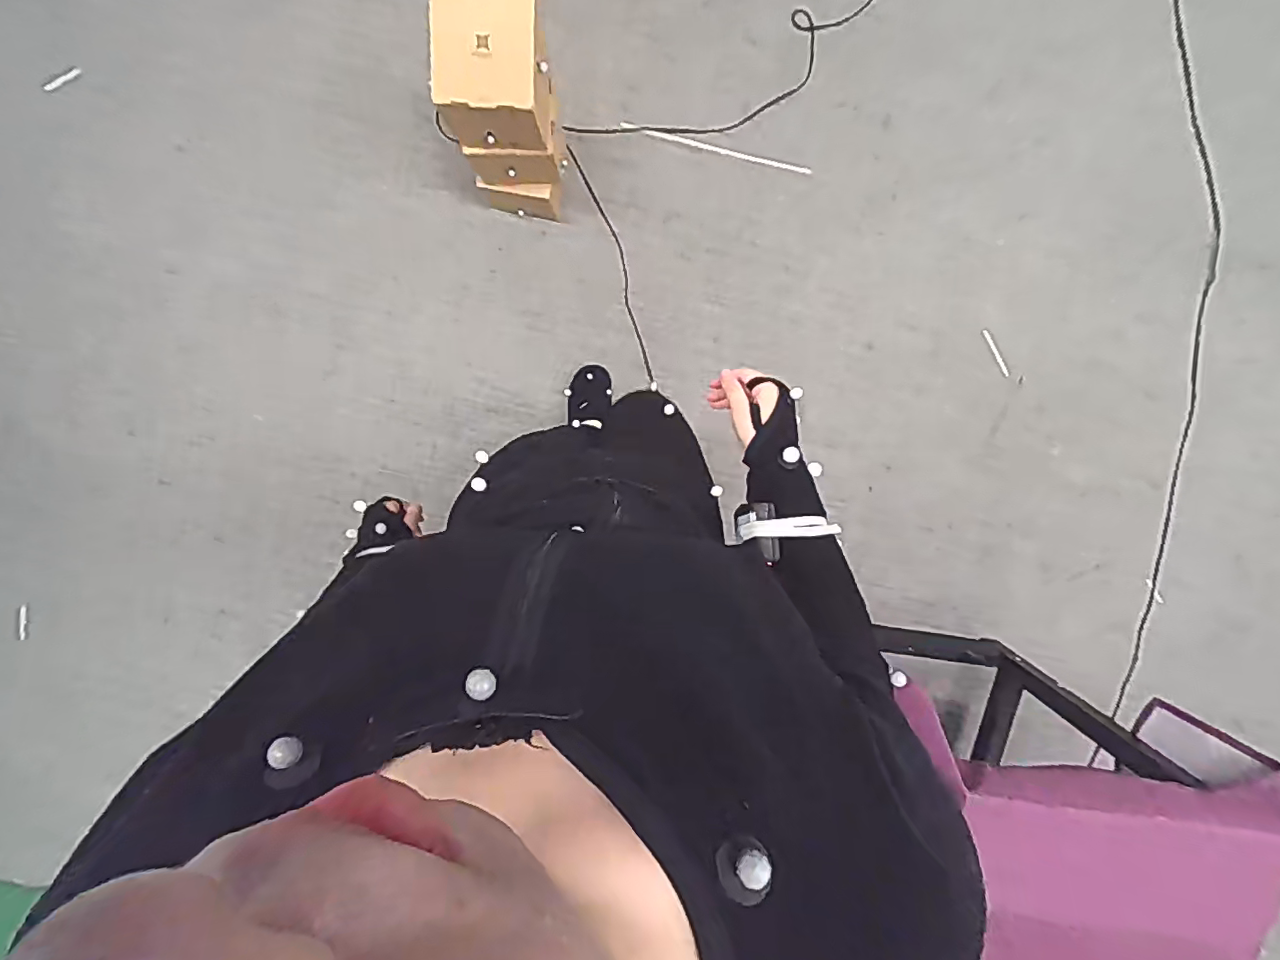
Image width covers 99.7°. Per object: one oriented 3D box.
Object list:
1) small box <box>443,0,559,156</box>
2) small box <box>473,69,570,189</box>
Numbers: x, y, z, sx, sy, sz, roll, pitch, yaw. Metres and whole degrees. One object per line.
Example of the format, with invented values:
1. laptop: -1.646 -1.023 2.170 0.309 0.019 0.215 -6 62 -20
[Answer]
1. small box: -0.238 -0.704 0.954 0.168 0.176 0.179 3 101 0
2. small box: -0.239 -0.718 1.117 0.179 0.176 0.168 0 100 1
